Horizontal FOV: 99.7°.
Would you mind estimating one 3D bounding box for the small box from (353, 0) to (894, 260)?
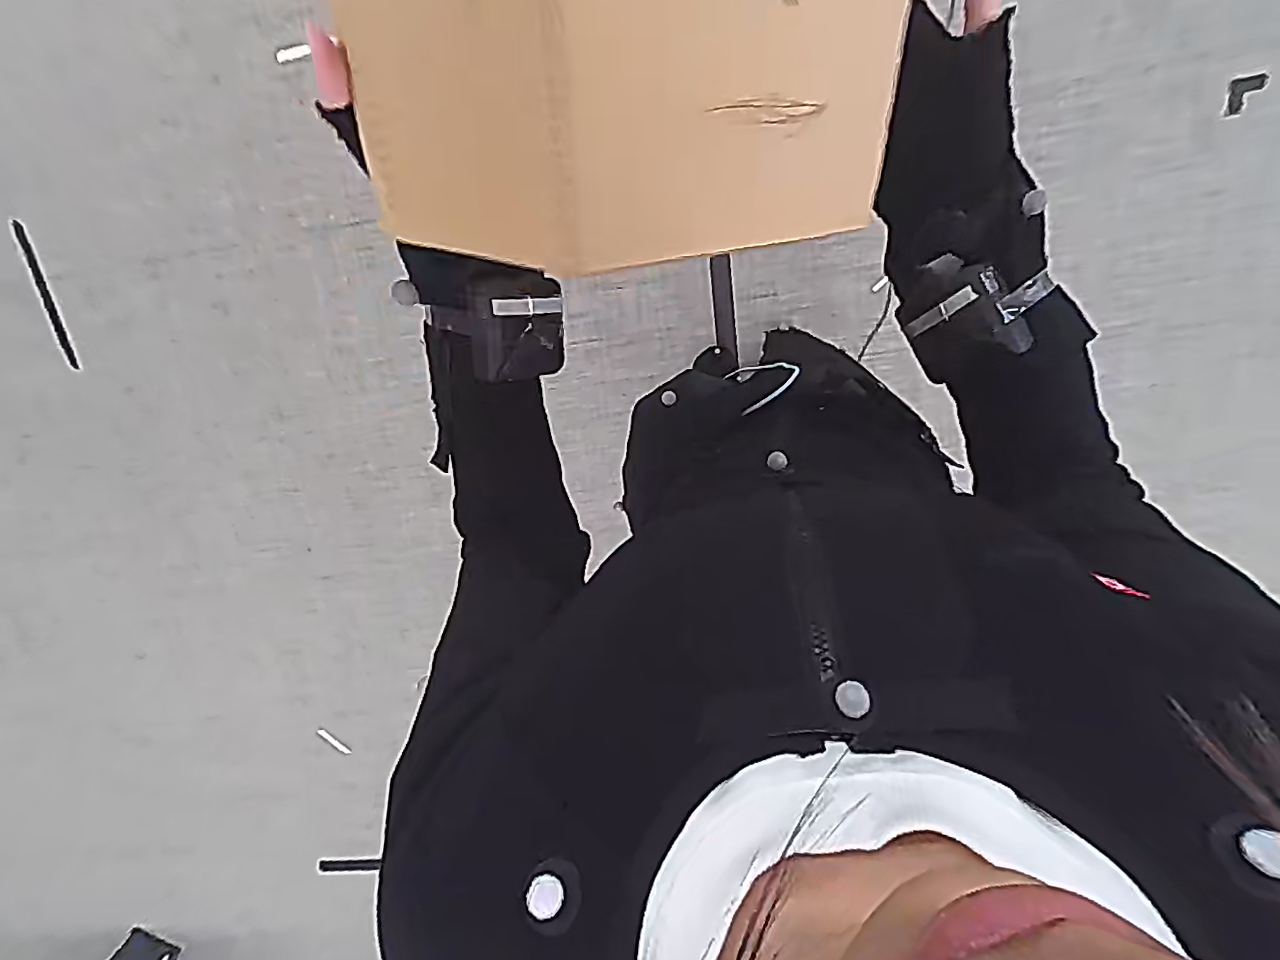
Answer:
[{"bbox_3d":[-0.012,-0.198,0.228,0.176,0.168,0.179,28,130,40],"label":"small box"}]
